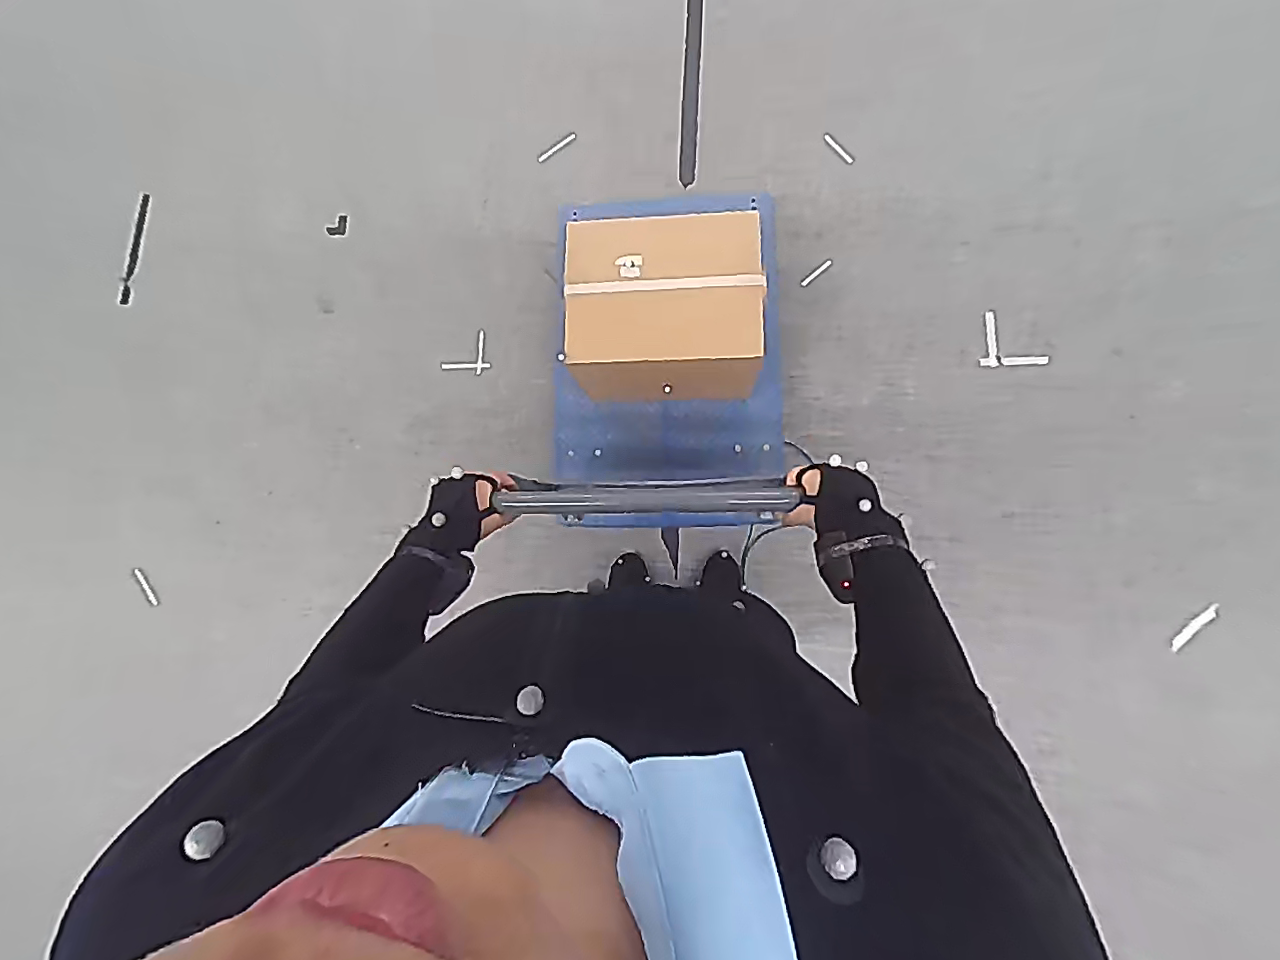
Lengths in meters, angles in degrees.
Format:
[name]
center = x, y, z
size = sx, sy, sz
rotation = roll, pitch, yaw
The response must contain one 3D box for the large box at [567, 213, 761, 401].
[large box]
center = 0.063, -0.379, 1.272
size = 0.408, 0.320, 0.320
rotation = -1, 82, 7
